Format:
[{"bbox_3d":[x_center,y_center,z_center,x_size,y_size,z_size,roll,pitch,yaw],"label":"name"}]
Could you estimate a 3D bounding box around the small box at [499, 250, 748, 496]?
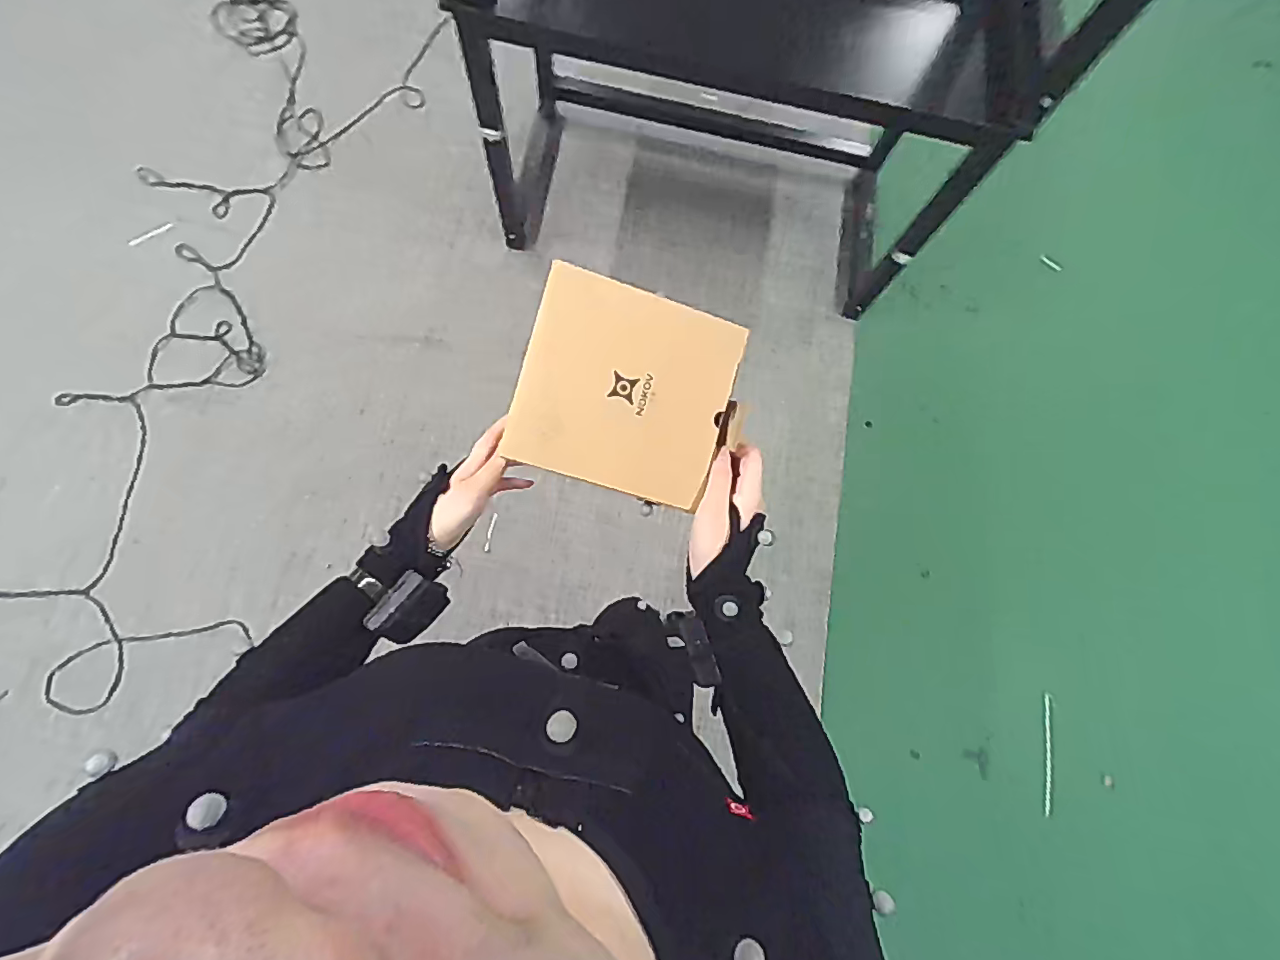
[{"bbox_3d":[-0.025,-0.086,0.524,0.179,0.176,0.168,16,88,-11],"label":"small box"}]
